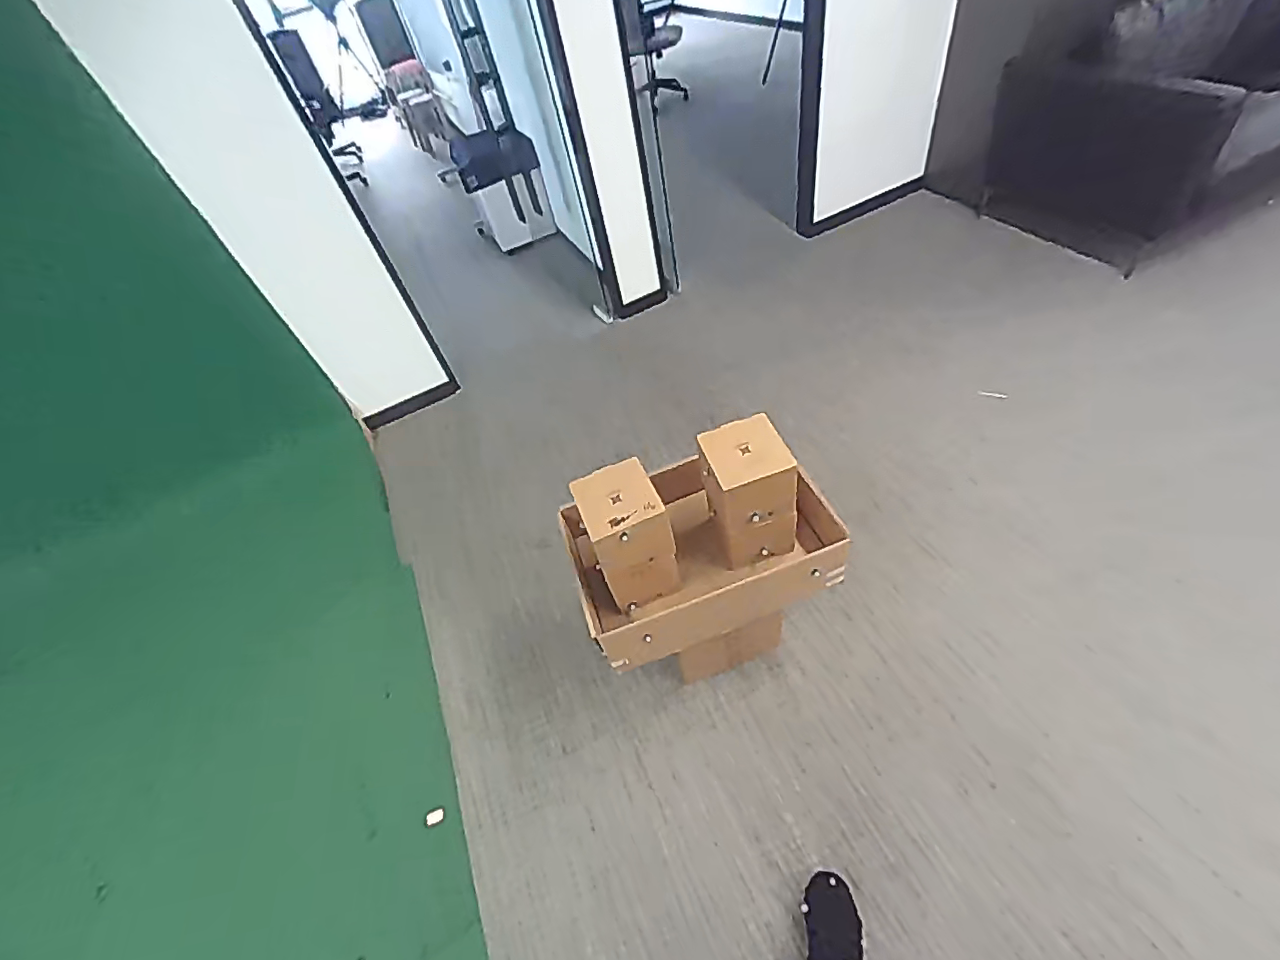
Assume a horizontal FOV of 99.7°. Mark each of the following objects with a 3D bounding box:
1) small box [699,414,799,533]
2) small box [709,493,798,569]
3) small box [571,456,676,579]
[{"bbox_3d":[0.240,-0.013,1.209,0.168,0.176,0.179,-18,49,-2],"label":"small box"},{"bbox_3d":[0.273,0.088,1.332,0.168,0.176,0.179,-18,49,-1],"label":"small box"},{"bbox_3d":[-0.034,0.085,1.189,0.168,0.176,0.179,-23,49,-6],"label":"small box"}]
